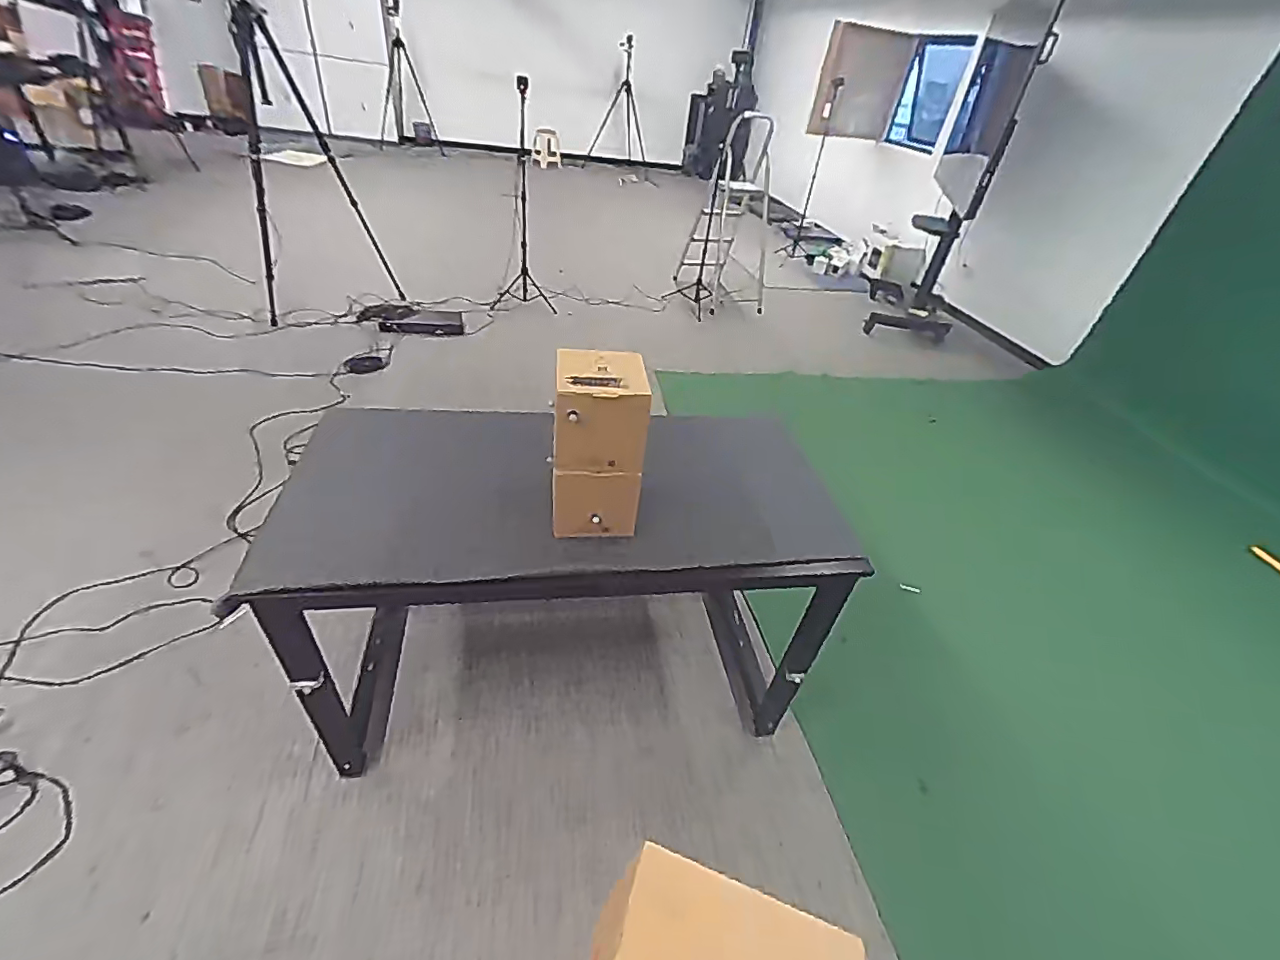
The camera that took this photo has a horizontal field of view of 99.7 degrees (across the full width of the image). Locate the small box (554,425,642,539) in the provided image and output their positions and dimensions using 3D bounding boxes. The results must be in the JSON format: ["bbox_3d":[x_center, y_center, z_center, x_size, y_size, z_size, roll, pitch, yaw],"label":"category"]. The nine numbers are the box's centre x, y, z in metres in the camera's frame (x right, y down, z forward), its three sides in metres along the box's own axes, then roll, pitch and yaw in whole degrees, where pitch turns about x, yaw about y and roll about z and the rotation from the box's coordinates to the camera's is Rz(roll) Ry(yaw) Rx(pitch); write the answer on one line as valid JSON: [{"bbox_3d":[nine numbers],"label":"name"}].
[{"bbox_3d":[-0.094,0.003,1.126,0.168,0.176,0.179,0,38,-10],"label":"small box"}]

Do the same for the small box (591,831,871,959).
[{"bbox_3d":[0.041,0.389,0.363,0.168,0.176,0.179,20,37,6],"label":"small box"}]
